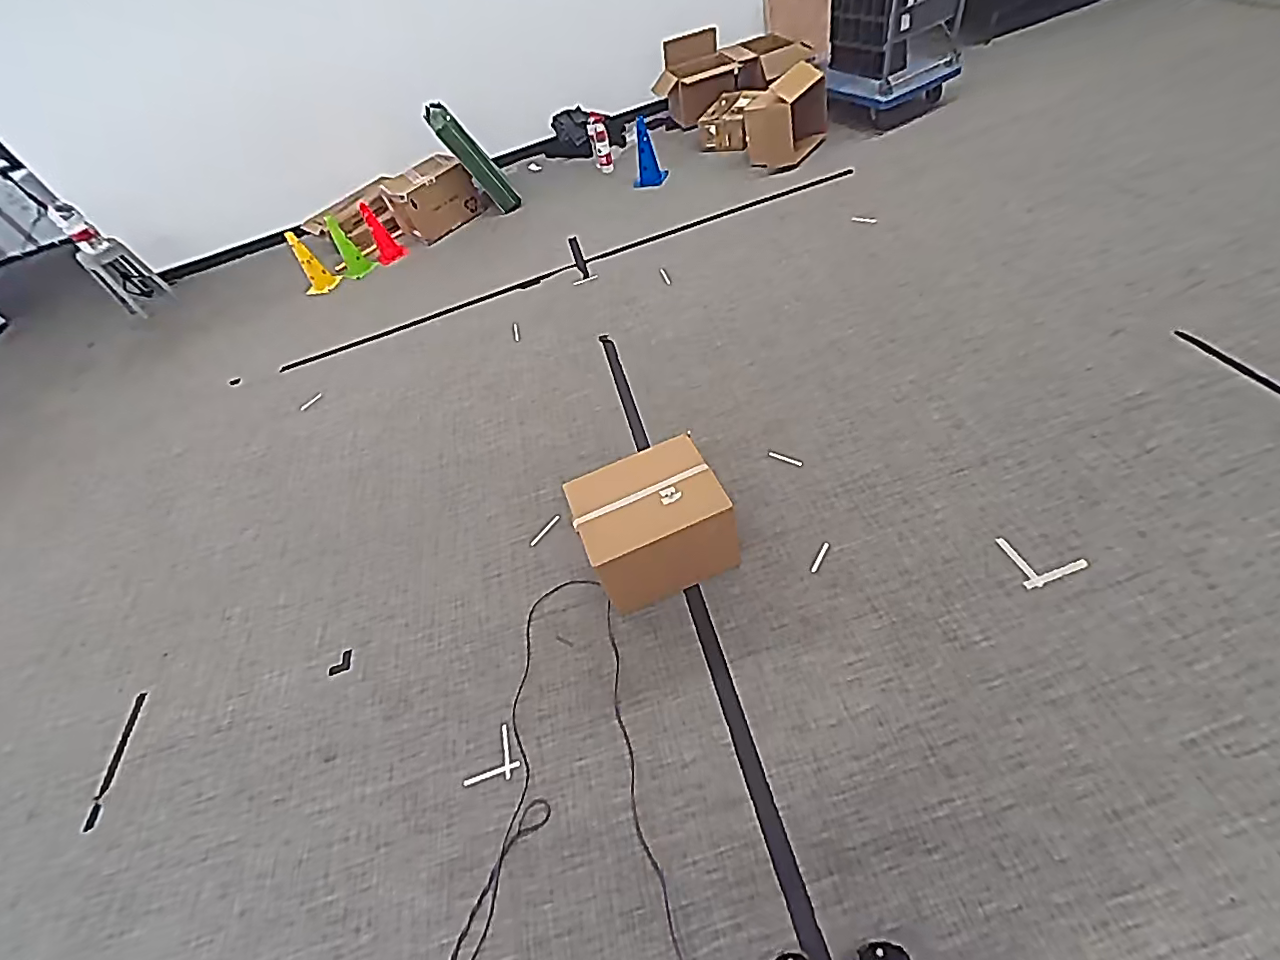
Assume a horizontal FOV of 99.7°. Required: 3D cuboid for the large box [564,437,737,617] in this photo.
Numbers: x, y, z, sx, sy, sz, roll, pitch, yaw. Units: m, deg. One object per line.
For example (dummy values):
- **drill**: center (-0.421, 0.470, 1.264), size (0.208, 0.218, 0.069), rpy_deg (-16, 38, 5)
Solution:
- **large box**: center (0.036, 0.142, 1.609), size (0.408, 0.320, 0.320), rpy_deg (-23, 50, -5)
